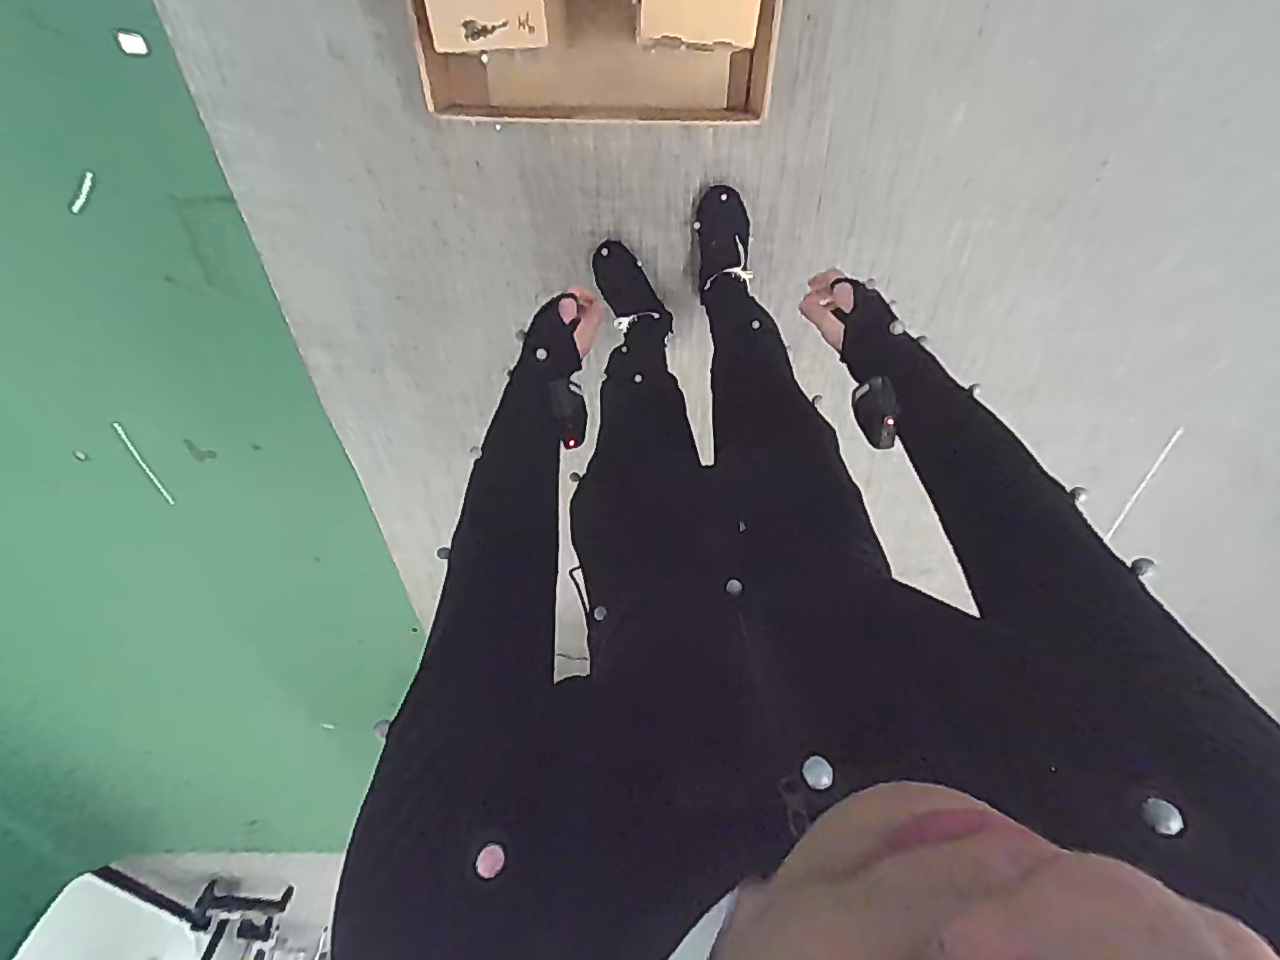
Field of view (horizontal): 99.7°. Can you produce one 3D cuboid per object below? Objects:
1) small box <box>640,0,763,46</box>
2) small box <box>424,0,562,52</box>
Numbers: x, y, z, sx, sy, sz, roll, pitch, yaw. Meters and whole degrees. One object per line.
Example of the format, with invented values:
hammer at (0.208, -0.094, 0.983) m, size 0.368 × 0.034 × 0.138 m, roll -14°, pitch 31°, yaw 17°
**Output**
small box at (0.089, -0.737, 0.768) m, size 0.168 × 0.176 × 0.179 m, roll 3°, pitch 129°, yaw -3°
small box at (-0.211, -0.729, 0.772) m, size 0.168 × 0.176 × 0.179 m, roll 0°, pitch 127°, yaw 2°
